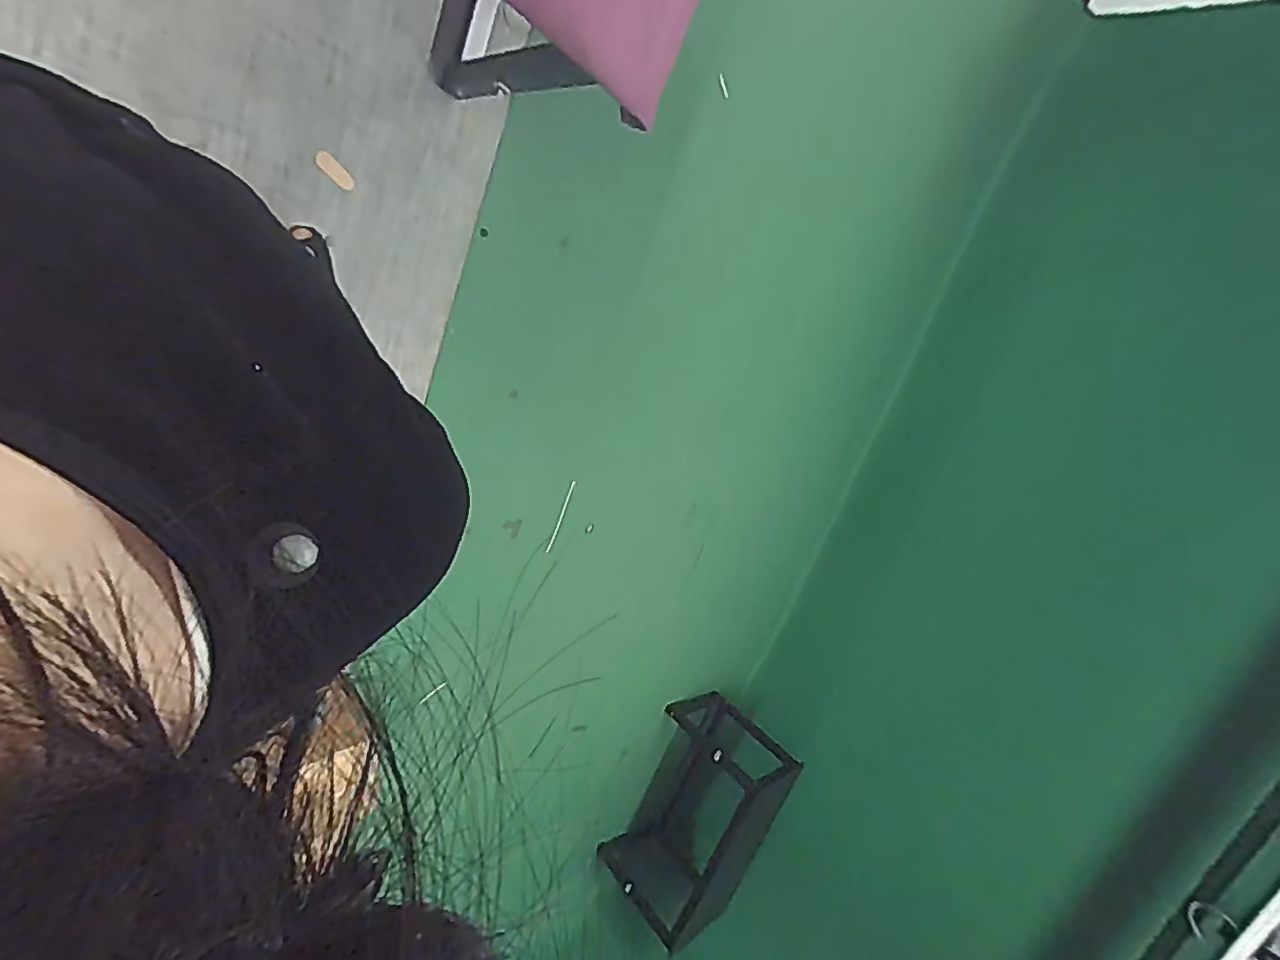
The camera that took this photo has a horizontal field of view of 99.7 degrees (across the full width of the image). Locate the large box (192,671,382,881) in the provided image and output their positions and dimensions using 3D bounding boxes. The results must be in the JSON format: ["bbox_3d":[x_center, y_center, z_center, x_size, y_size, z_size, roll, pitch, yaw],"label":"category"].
[{"bbox_3d":[-1.033,0.846,1.605,0.408,0.320,0.320,-11,122,-42],"label":"large box"}]

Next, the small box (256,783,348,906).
[{"bbox_3d":[-0.893,0.949,1.428,0.179,0.176,0.168,-6,116,-43],"label":"small box"}]
